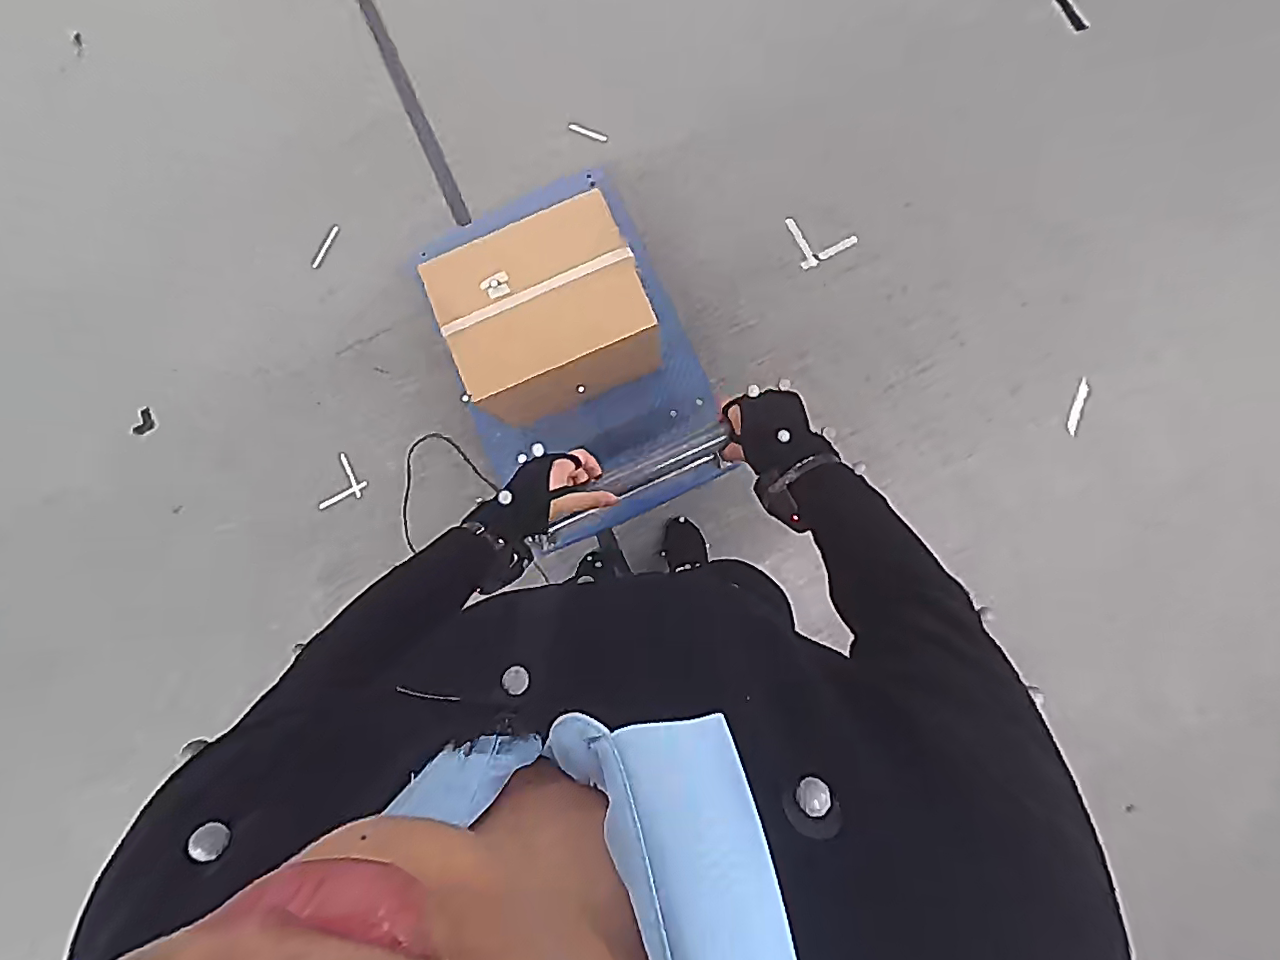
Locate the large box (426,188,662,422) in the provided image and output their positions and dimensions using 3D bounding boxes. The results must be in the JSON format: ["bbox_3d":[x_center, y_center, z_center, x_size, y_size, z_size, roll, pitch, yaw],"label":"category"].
[{"bbox_3d":[-0.191,-0.368,1.237,0.408,0.320,0.320,-23,84,2],"label":"large box"}]
